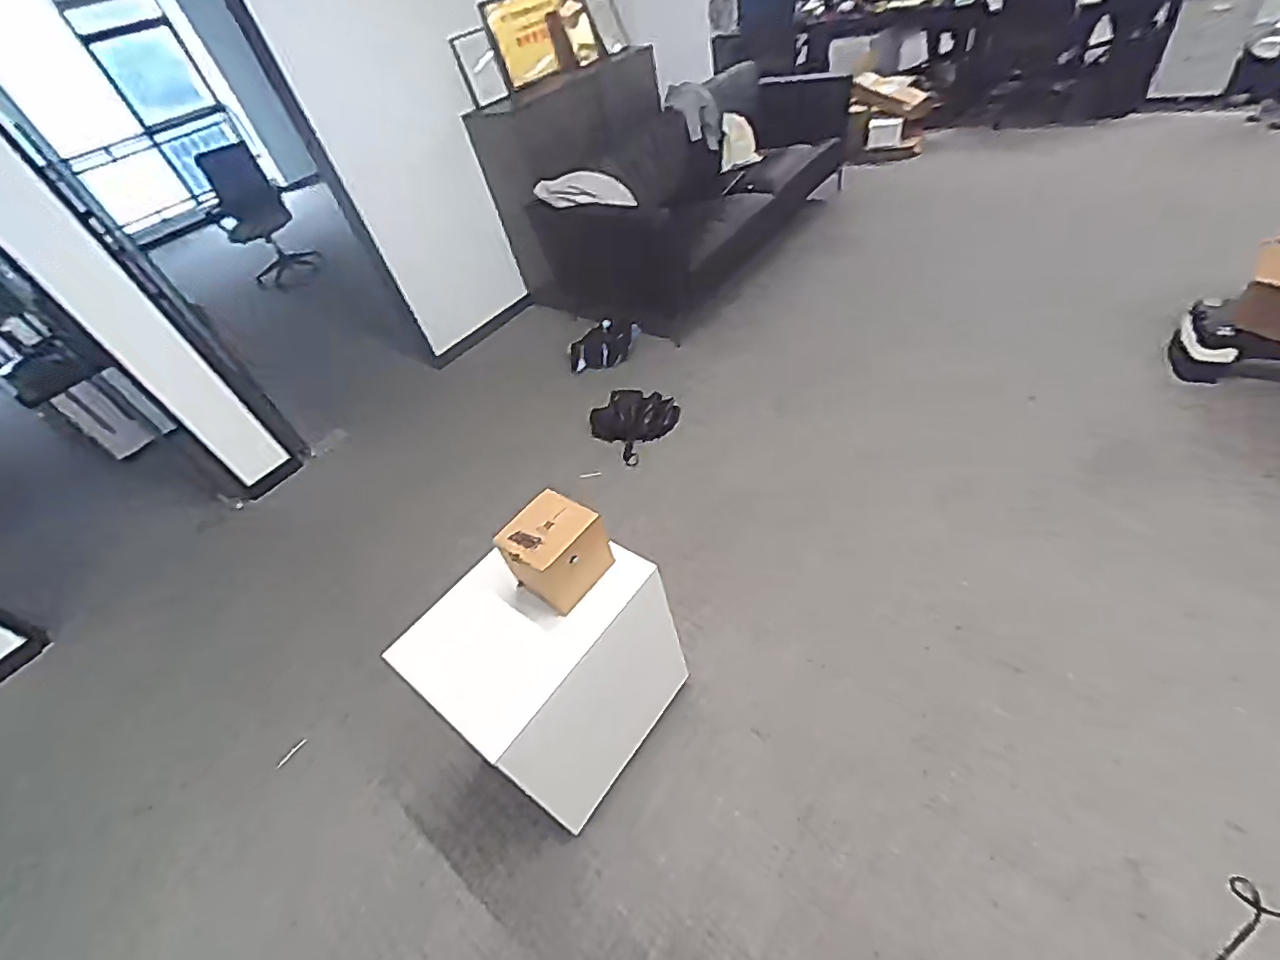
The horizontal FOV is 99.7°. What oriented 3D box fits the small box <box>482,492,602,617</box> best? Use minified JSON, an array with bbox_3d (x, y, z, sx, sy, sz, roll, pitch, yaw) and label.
[{"bbox_3d":[-0.202,0.162,1.172,0.168,0.176,0.179,24,53,32],"label":"small box"}]
